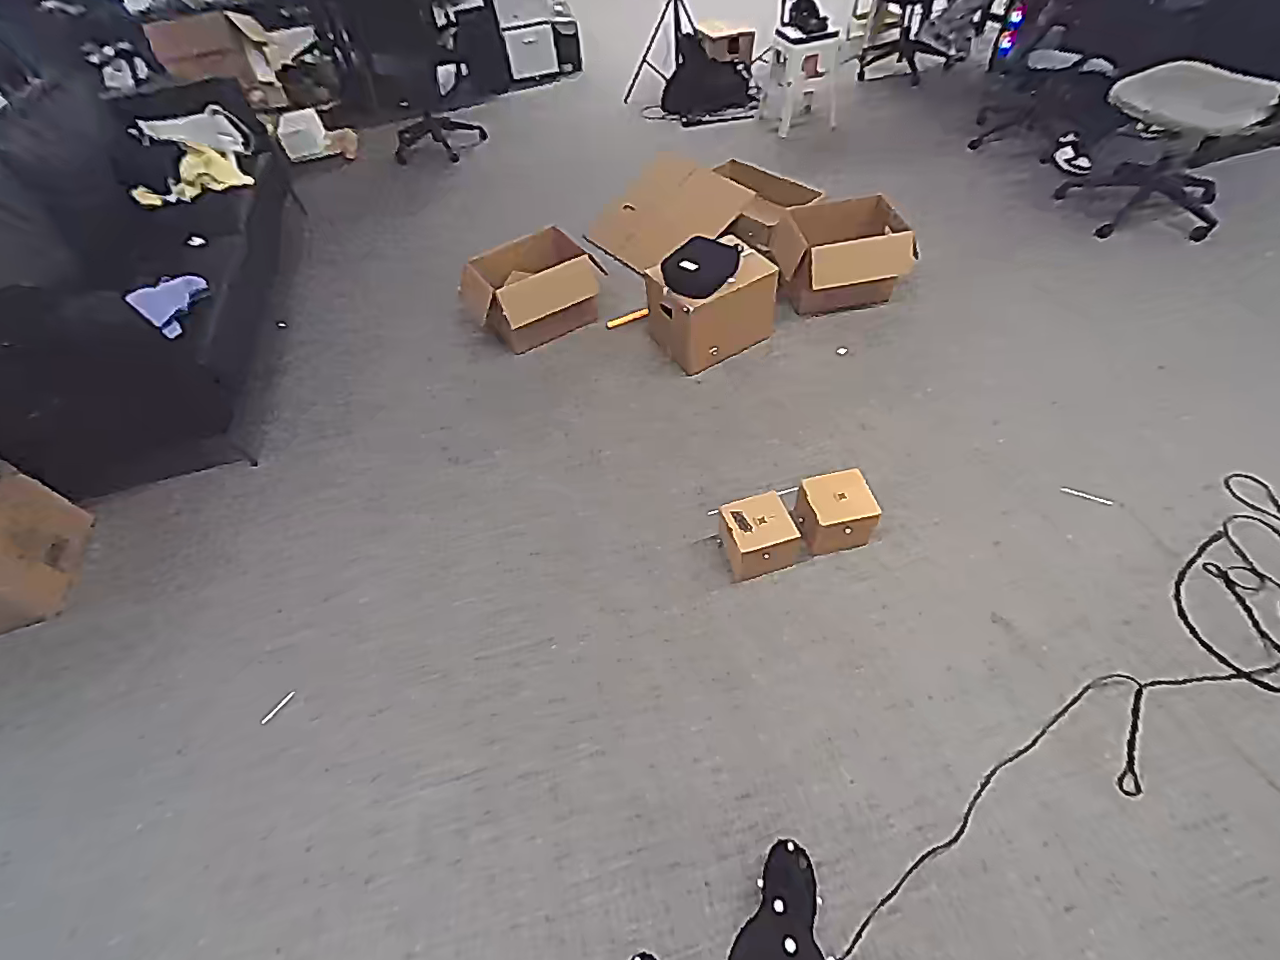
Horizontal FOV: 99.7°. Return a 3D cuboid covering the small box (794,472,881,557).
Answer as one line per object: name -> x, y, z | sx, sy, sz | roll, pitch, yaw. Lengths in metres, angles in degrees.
small box -> 0.571, 0.104, 1.586 | 0.179, 0.176, 0.168 | -12, 52, -1

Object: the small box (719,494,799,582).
small box -> 0.336, 0.173, 1.561 | 0.179, 0.176, 0.168 | -15, 52, -6
